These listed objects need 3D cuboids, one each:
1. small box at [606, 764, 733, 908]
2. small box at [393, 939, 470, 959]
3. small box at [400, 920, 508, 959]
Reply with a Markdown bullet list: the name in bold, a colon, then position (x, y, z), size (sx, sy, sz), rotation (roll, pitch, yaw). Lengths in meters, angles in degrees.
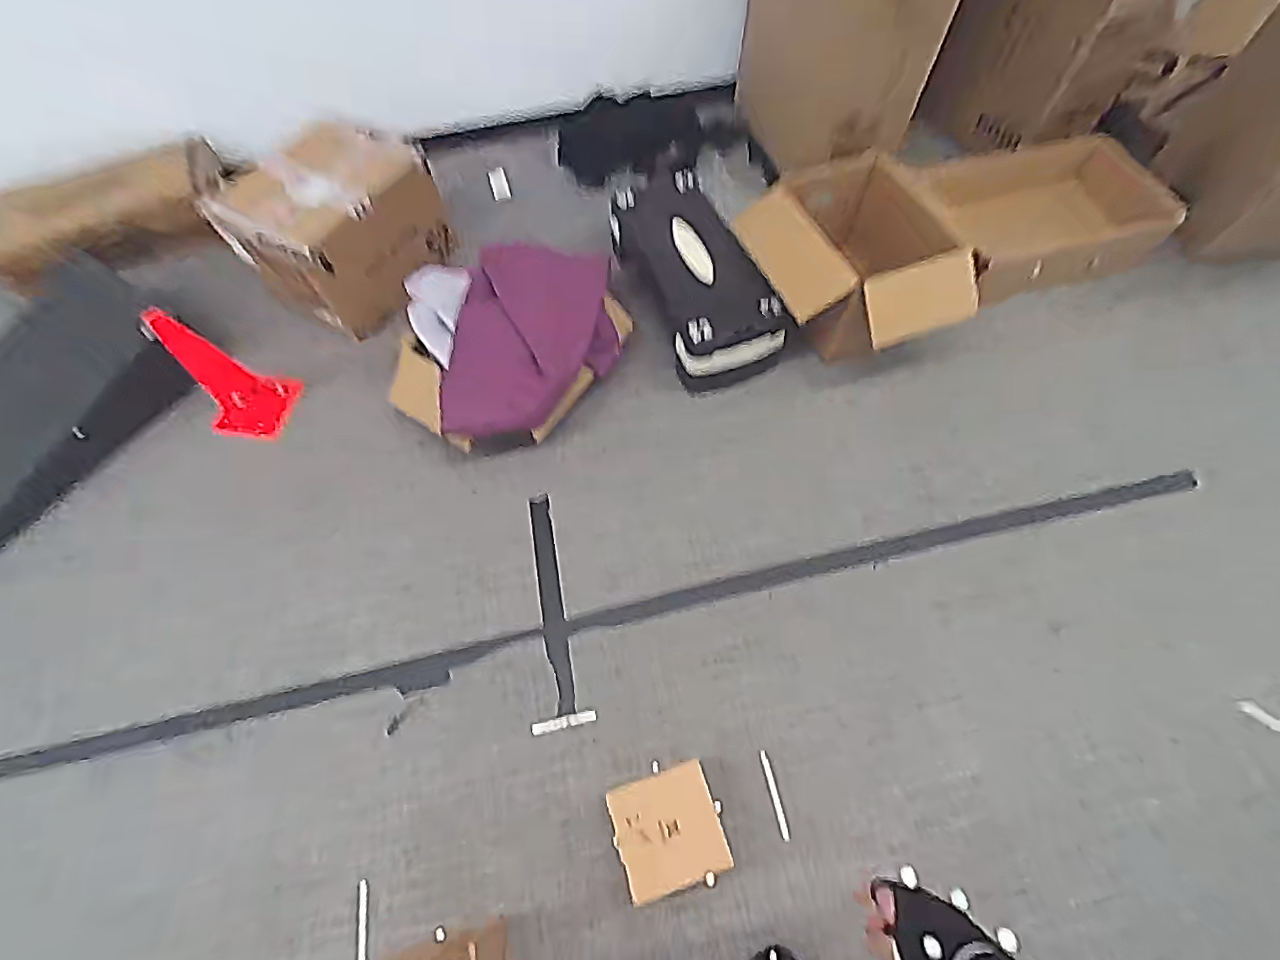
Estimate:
- **small box**: position (0.048, 0.629, 0.978), size (0.179, 0.176, 0.168), rotation (-18, 63, -6)
- **small box**: position (-0.327, 0.769, 0.736), size (0.168, 0.176, 0.179), rotation (-19, 64, -5)
- **small box**: position (-0.318, 0.854, 0.874), size (0.179, 0.176, 0.168), rotation (-15, 63, -5)
